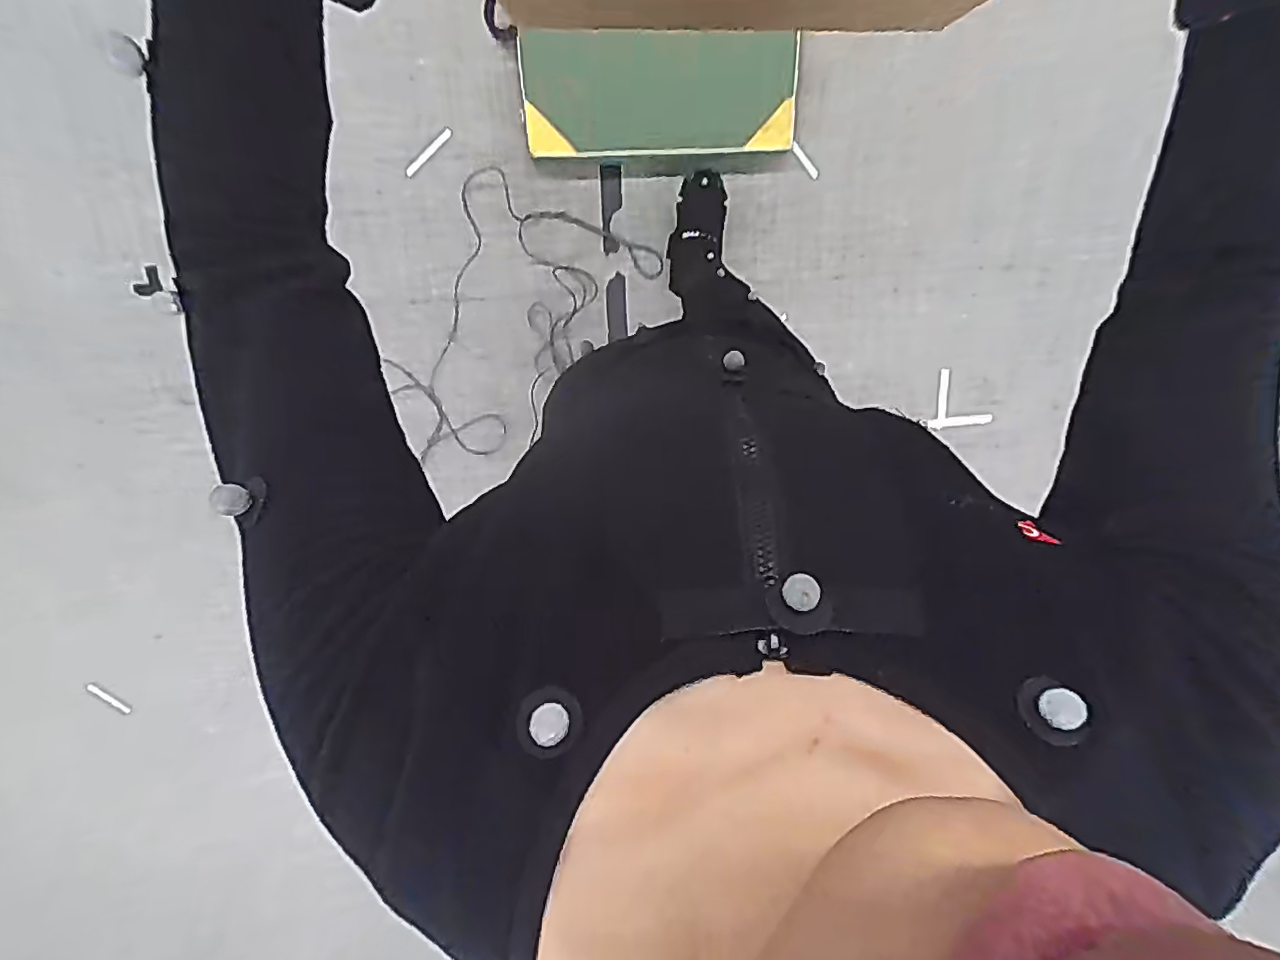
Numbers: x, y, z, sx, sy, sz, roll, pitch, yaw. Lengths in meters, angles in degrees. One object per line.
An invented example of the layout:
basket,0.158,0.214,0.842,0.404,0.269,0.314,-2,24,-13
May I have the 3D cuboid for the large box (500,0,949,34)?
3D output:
large box,0.074,-0.508,0.321,0.408,0.320,0.320,-1,117,0
